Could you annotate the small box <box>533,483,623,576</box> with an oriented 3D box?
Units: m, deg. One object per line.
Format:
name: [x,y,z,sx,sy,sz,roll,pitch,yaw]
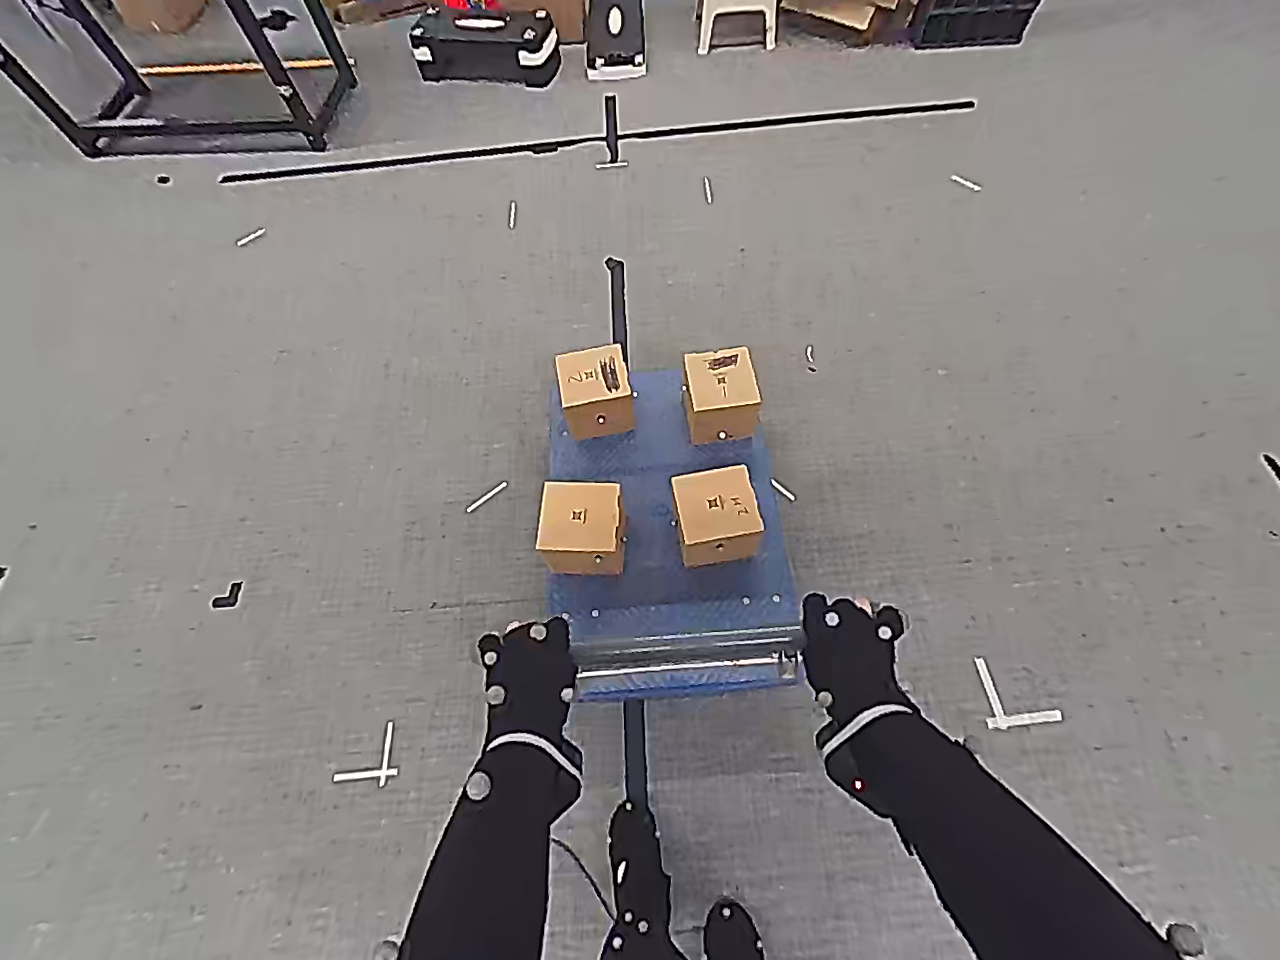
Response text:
small box: [-0.136,0.119,1.254,0.179,0.176,0.168,1,63,3]

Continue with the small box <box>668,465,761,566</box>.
small box: [0.167,0.089,1.247,0.179,0.176,0.168,-10,64,-1]

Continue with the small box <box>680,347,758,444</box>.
small box: [0.196,-0.215,1.396,0.168,0.176,0.179,-8,64,0]
